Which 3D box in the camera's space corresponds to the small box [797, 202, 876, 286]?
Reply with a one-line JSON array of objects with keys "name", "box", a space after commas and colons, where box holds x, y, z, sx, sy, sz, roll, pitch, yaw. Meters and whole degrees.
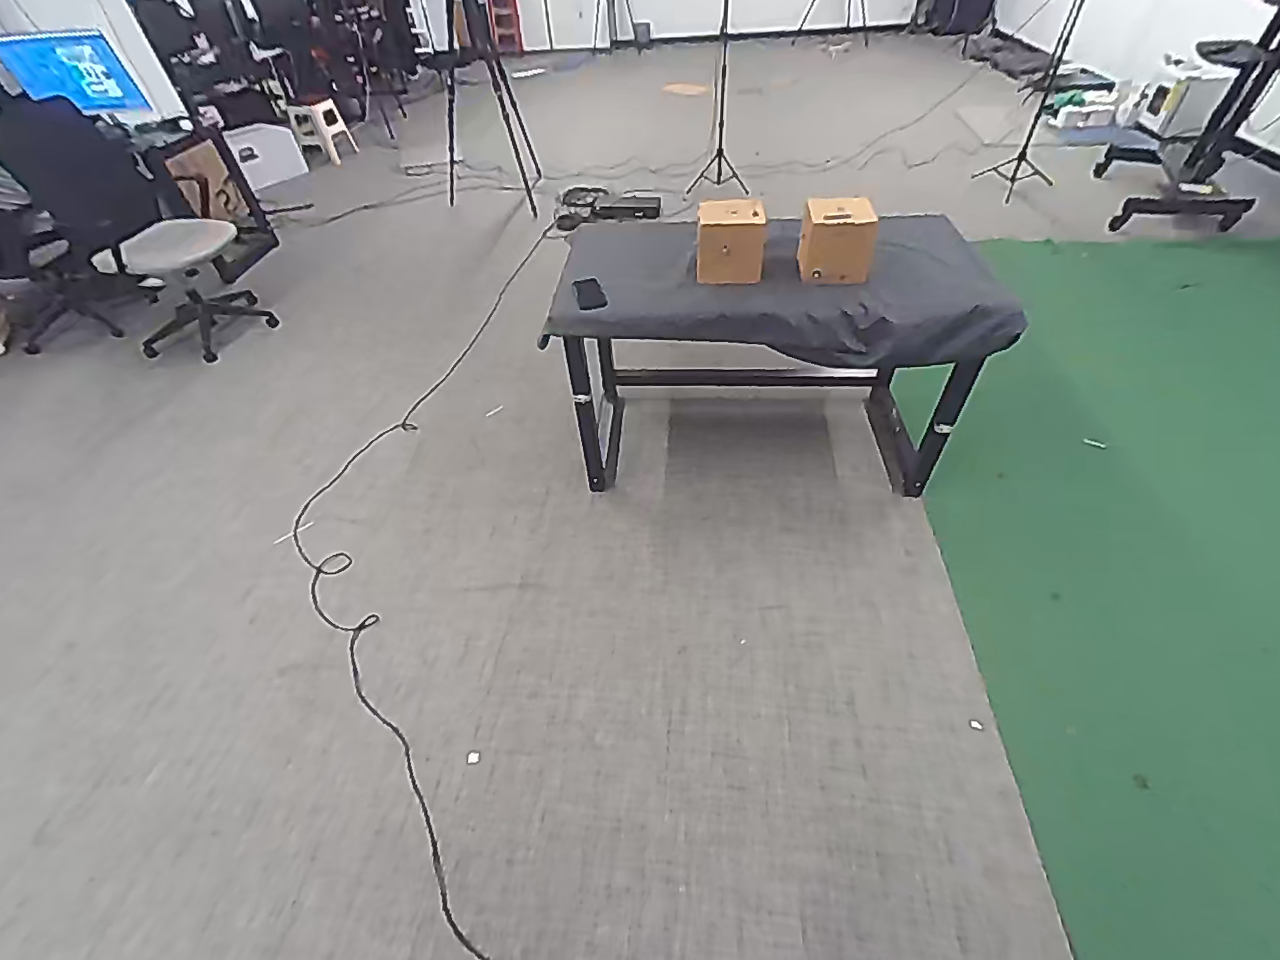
[{"name": "small box", "box": [0.538, -0.655, 1.503, 0.168, 0.176, 0.179, 3, 46, 6]}]

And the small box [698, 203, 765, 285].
[{"name": "small box", "box": [0.254, -0.666, 1.532, 0.179, 0.176, 0.168, 1, 47, 5]}]
